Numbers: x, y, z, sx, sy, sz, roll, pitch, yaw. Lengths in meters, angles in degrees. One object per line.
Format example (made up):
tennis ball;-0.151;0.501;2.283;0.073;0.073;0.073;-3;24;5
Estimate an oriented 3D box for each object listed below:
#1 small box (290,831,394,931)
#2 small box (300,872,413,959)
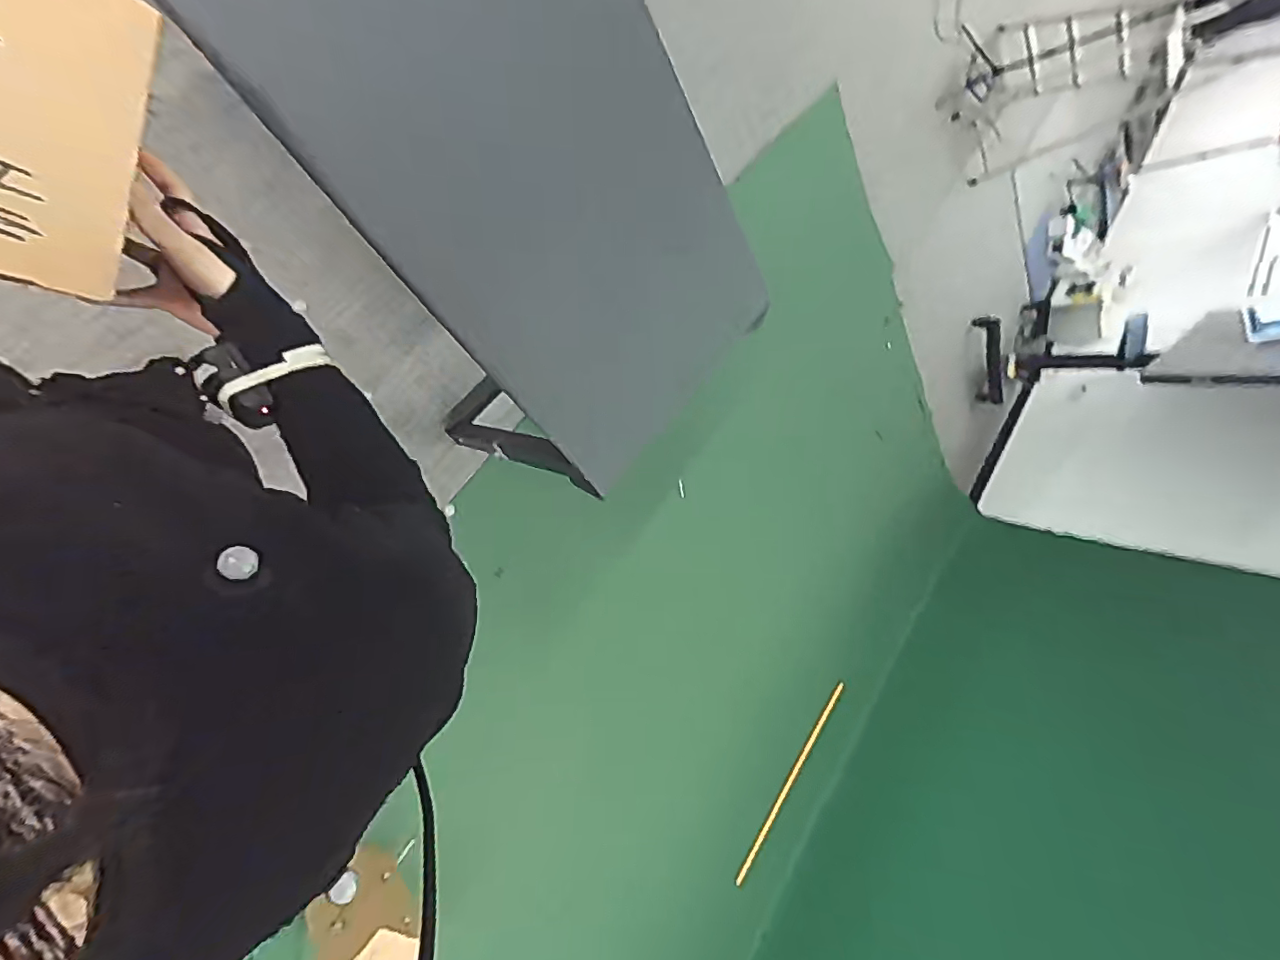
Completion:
small box;-0.828;1.118;1.497;0.168;0.176;0.179;-51;128;-19
small box;-0.721;1.146;1.374;0.168;0.176;0.179;-49;127;-21
